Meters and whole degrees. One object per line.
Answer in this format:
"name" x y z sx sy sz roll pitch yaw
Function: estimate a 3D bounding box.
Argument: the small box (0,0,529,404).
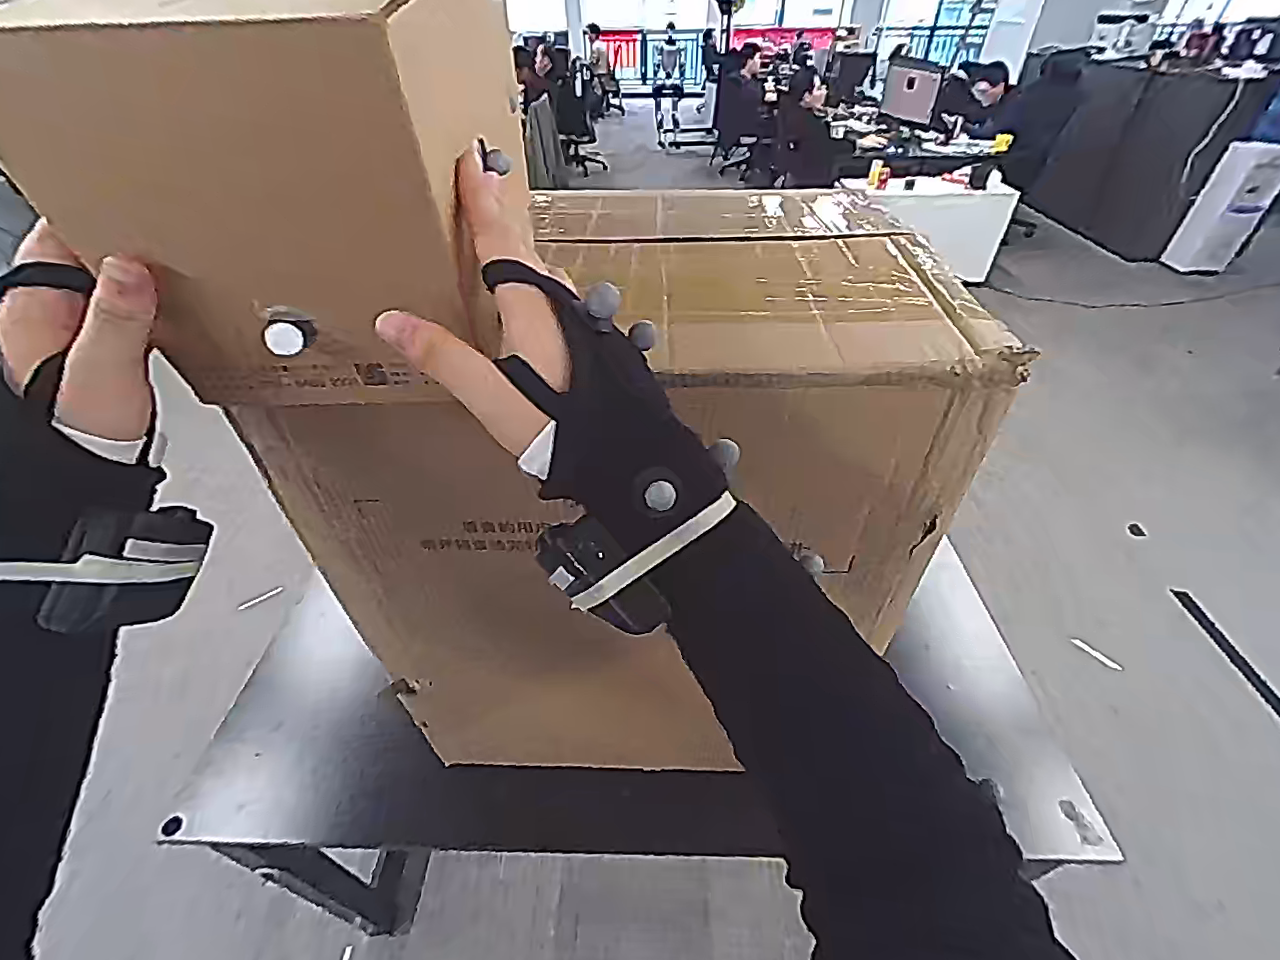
"small box" -0.162 -0.161 0.297 0.168 0.176 0.179 -1 50 1
